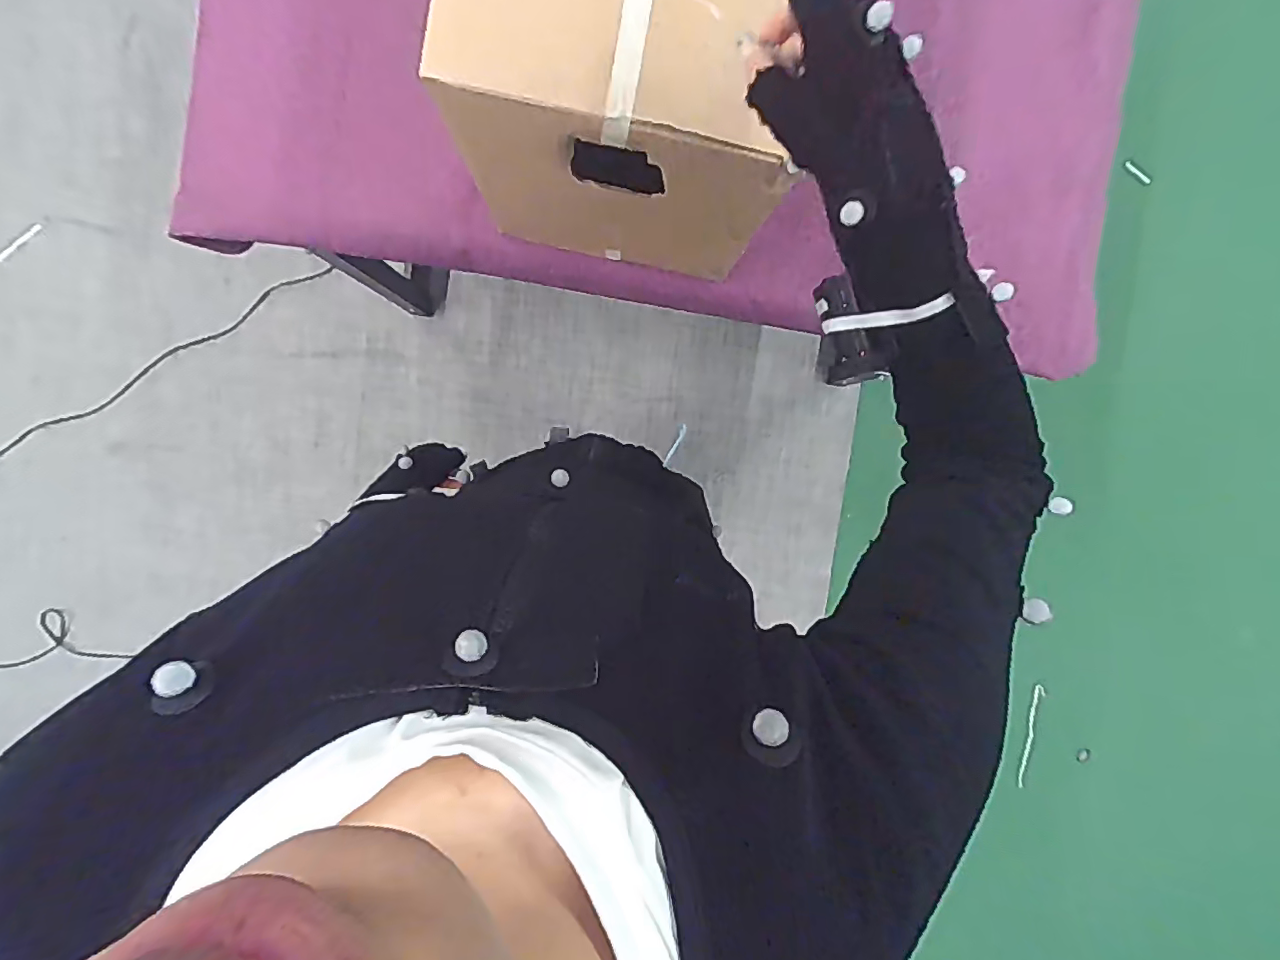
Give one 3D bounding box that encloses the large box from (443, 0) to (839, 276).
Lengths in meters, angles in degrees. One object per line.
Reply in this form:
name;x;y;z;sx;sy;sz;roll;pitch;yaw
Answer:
large box;0.015;-0.492;0.581;0.320;0.320;0.408;11;94;-4
